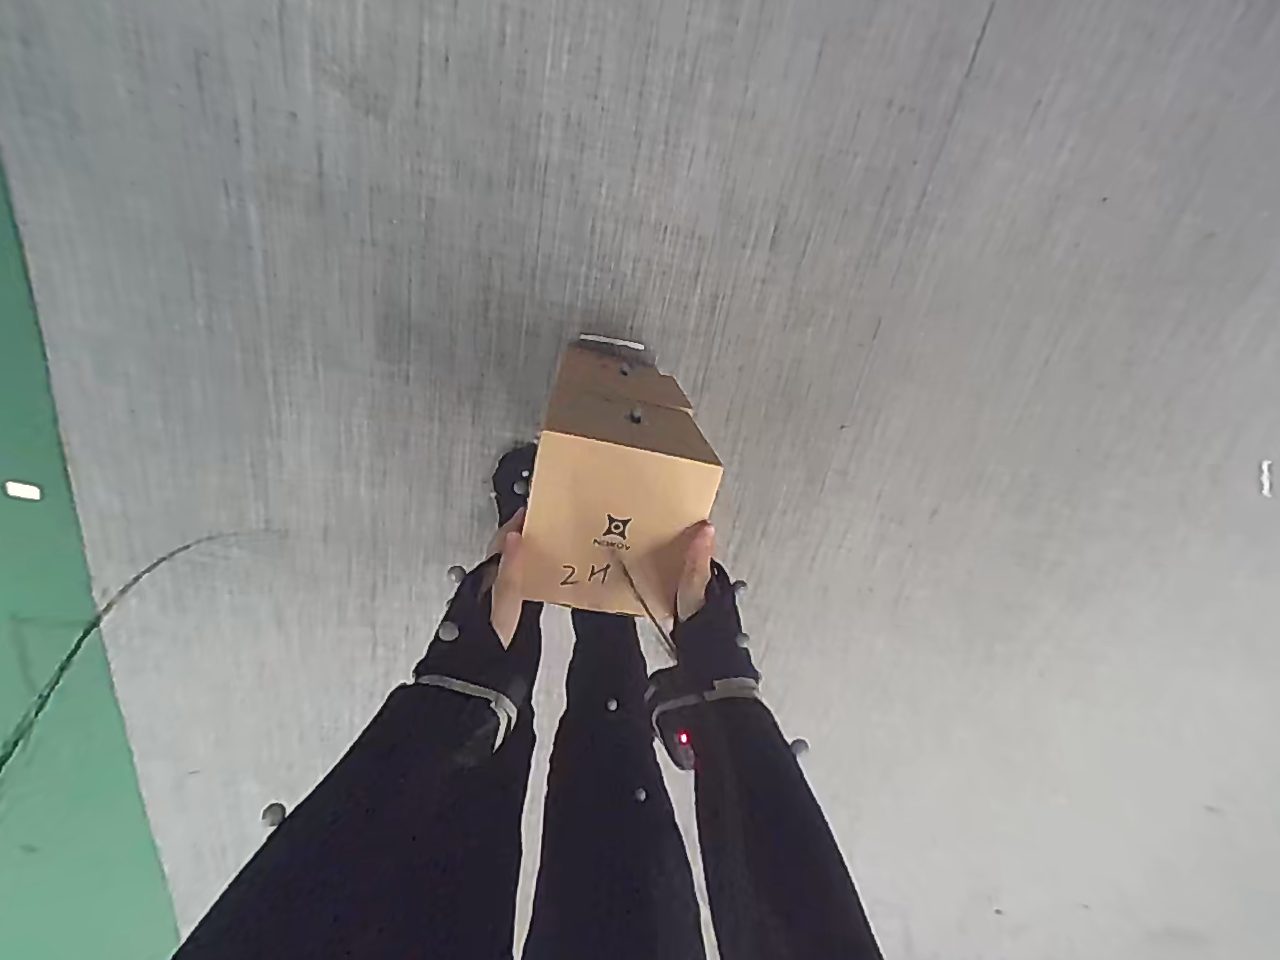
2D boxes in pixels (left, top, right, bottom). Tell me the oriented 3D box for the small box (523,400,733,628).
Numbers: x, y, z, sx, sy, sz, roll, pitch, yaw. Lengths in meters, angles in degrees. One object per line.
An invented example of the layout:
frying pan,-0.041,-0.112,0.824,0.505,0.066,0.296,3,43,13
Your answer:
small box,-0.022,0.027,0.581,0.168,0.176,0.179,12,111,-11

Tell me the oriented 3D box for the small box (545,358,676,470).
small box,-0.055,-0.088,0.893,0.168,0.176,0.179,14,111,-11
